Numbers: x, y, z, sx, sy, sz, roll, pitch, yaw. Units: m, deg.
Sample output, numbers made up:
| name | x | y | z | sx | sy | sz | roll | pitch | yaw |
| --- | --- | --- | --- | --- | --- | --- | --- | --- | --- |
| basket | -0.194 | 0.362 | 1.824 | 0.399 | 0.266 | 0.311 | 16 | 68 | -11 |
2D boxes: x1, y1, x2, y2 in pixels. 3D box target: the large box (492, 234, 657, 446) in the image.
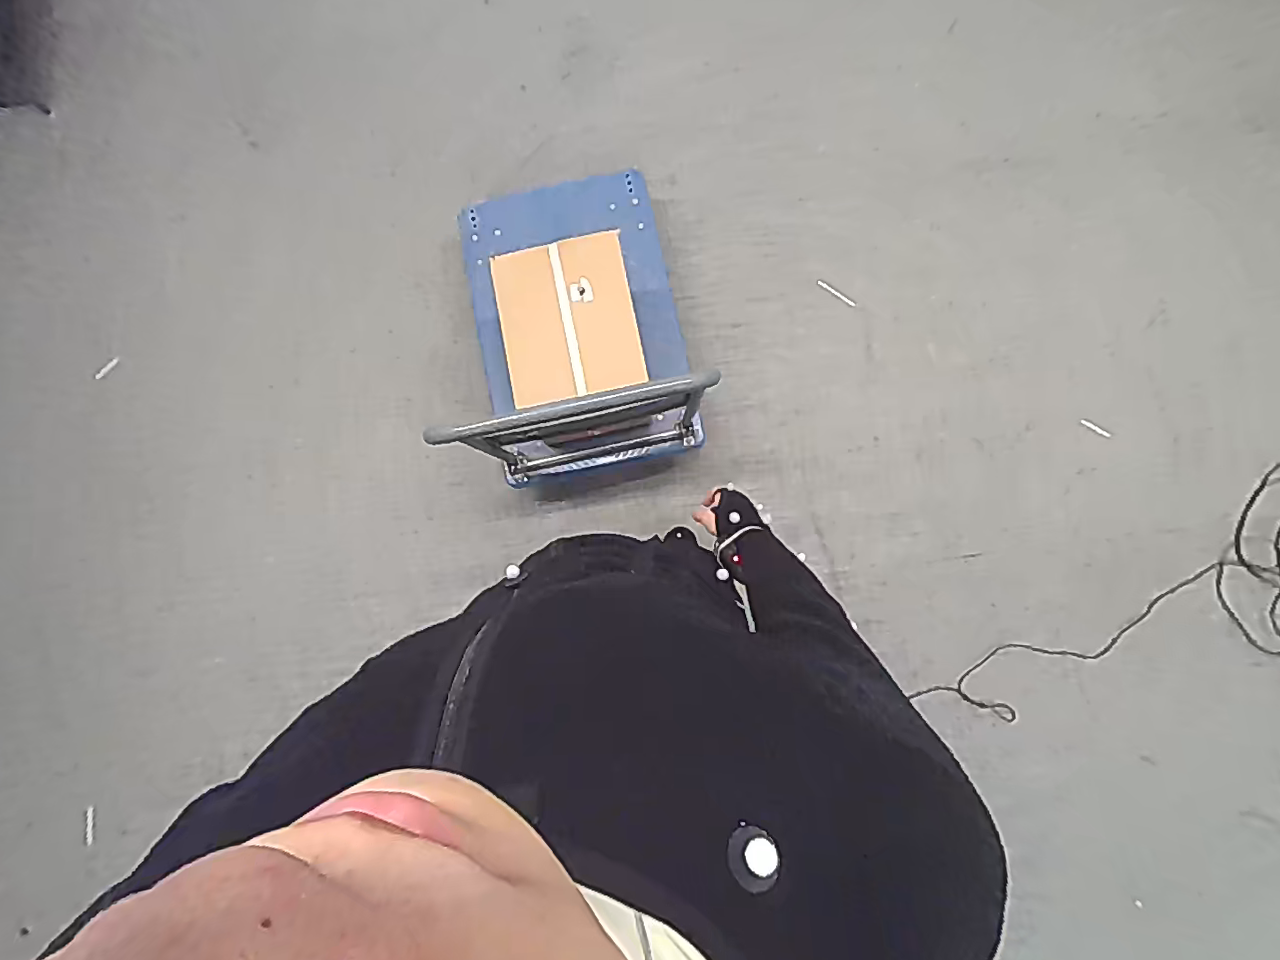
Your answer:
| name | x | y | z | sx | sy | sz | roll | pitch | yaw |
| --- | --- | --- | --- | --- | --- | --- | --- | --- | --- |
| large box | -0.152 | -0.338 | 1.396 | 0.320 | 0.320 | 0.408 | -12 | 81 | 1 |
